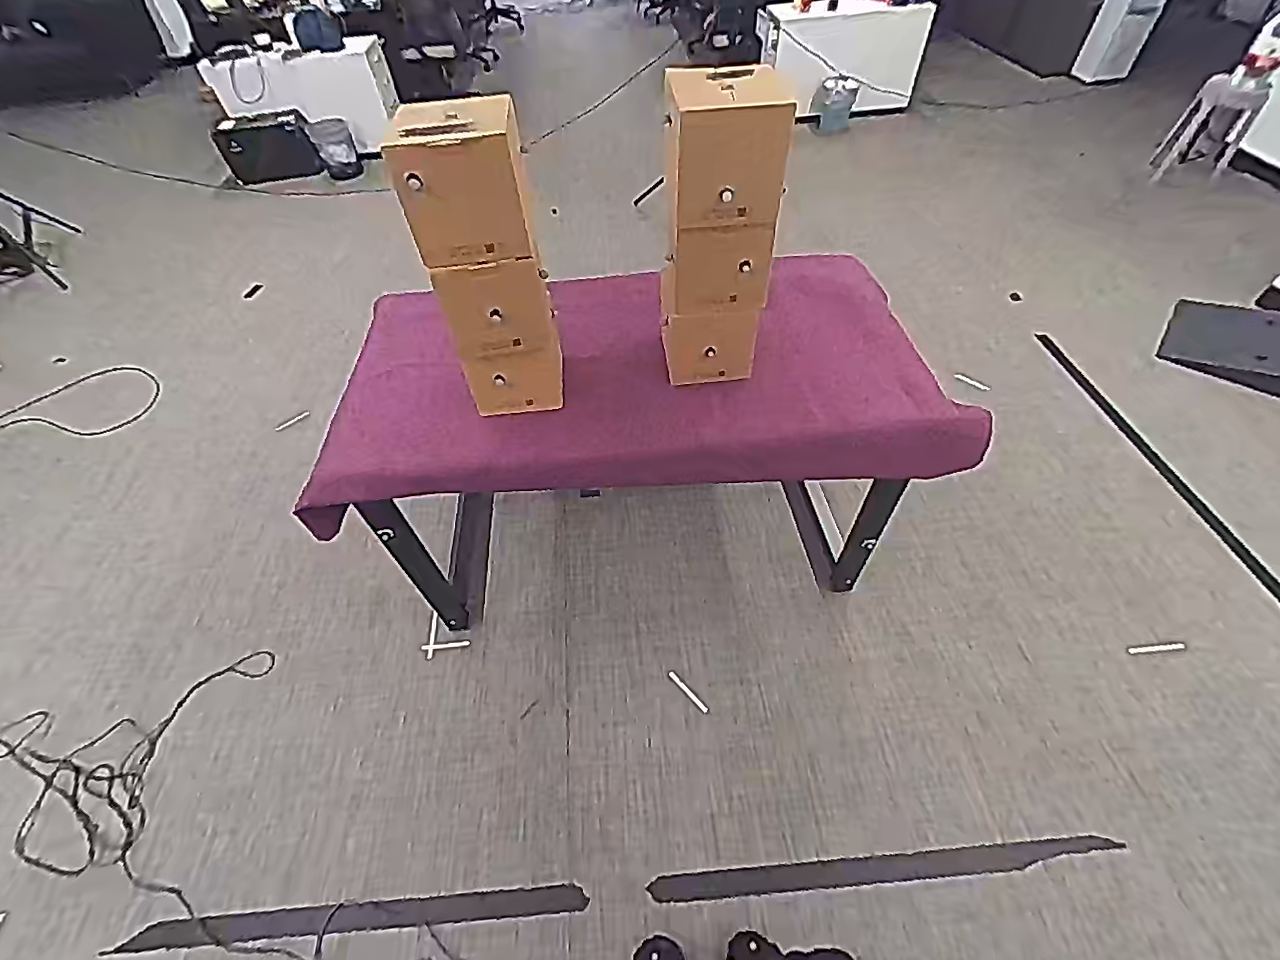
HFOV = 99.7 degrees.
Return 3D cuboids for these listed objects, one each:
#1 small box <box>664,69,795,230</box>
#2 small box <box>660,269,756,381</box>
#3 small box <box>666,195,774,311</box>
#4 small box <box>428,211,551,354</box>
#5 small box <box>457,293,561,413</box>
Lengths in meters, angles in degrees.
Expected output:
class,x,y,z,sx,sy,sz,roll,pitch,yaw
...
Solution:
class,x,y,z,sx,sy,sz,roll,pitch,yaw
small box,0.127,-0.518,0.852,0.168,0.176,0.179,-5,52,-1
small box,0.132,-0.317,1.109,0.168,0.176,0.179,-5,51,-1
small box,0.137,-0.423,0.986,0.168,0.176,0.179,-4,50,-1
small box,-0.253,-0.334,0.938,0.168,0.176,0.179,-10,52,-5
small box,-0.251,-0.248,1.079,0.168,0.176,0.179,-6,51,-2
